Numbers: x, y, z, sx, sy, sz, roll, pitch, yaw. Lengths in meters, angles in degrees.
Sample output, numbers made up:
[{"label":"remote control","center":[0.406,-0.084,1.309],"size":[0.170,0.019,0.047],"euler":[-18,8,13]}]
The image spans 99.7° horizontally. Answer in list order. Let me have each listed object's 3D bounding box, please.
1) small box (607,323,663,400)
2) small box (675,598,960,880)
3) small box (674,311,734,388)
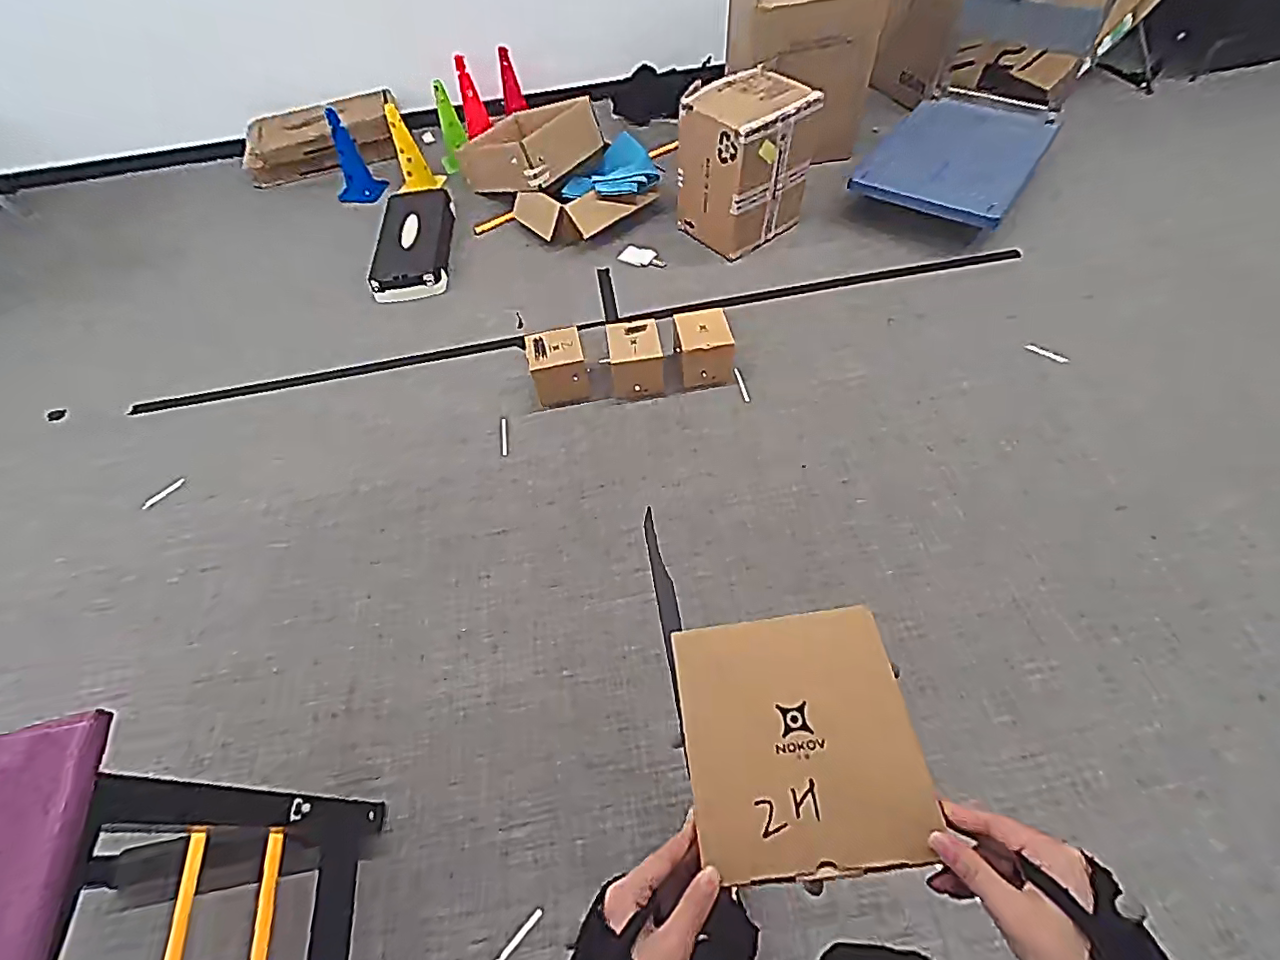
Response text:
[{"label":"small box","center":[-0.017,-0.390,1.783],"size":[0.168,0.176,0.179],"euler":[-8,57,-1]},{"label":"small box","center":[0.126,0.222,0.458],"size":[0.168,0.176,0.179],"euler":[-10,55,4]},{"label":"small box","center":[0.206,-0.432,1.799],"size":[0.168,0.176,0.179],"euler":[-10,56,-3]}]
